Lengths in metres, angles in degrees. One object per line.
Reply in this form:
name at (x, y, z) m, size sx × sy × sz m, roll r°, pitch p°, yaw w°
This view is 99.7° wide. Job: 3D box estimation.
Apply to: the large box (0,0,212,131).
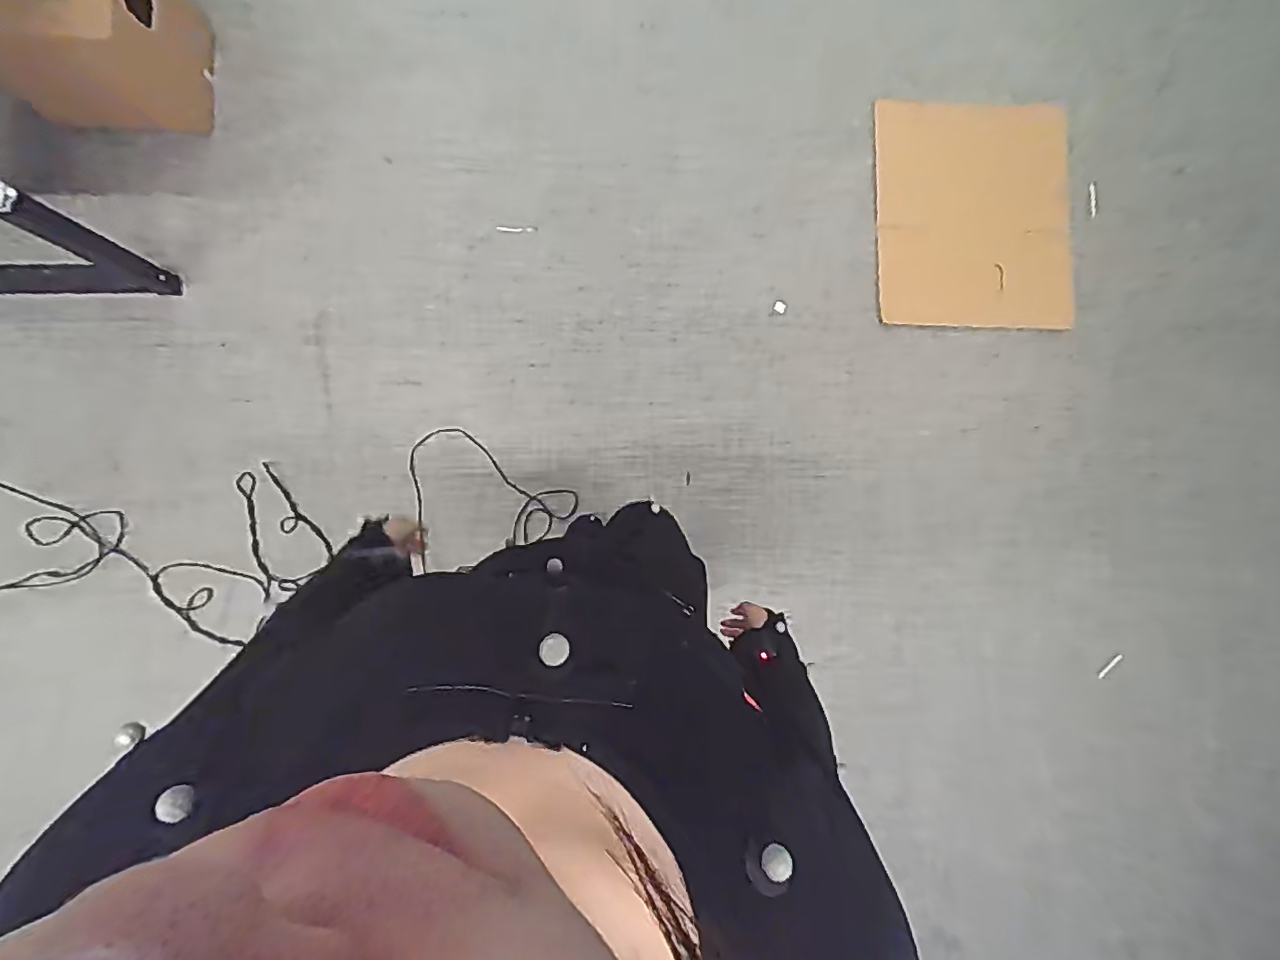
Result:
large box at (-1.377, -1.113, 1.336) m, size 0.408 × 0.320 × 0.320 m, roll -1°, pitch 88°, yaw -5°
